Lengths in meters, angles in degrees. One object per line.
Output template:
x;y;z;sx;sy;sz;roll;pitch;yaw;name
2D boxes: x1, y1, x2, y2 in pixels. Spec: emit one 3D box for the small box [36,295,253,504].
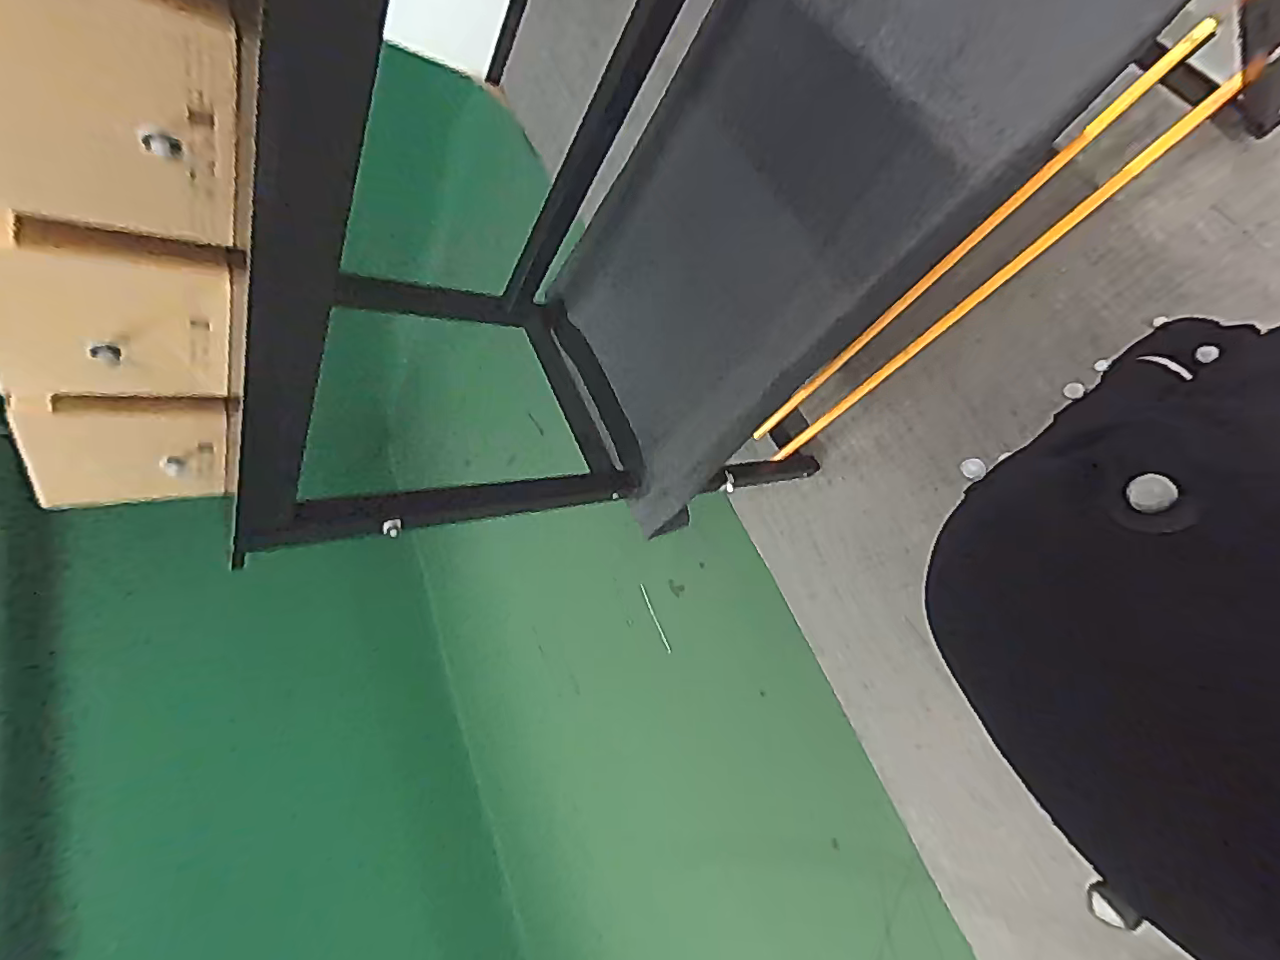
-0.589;-0.092;0.654;0.168;0.176;0.179;-48;61;41;small box
